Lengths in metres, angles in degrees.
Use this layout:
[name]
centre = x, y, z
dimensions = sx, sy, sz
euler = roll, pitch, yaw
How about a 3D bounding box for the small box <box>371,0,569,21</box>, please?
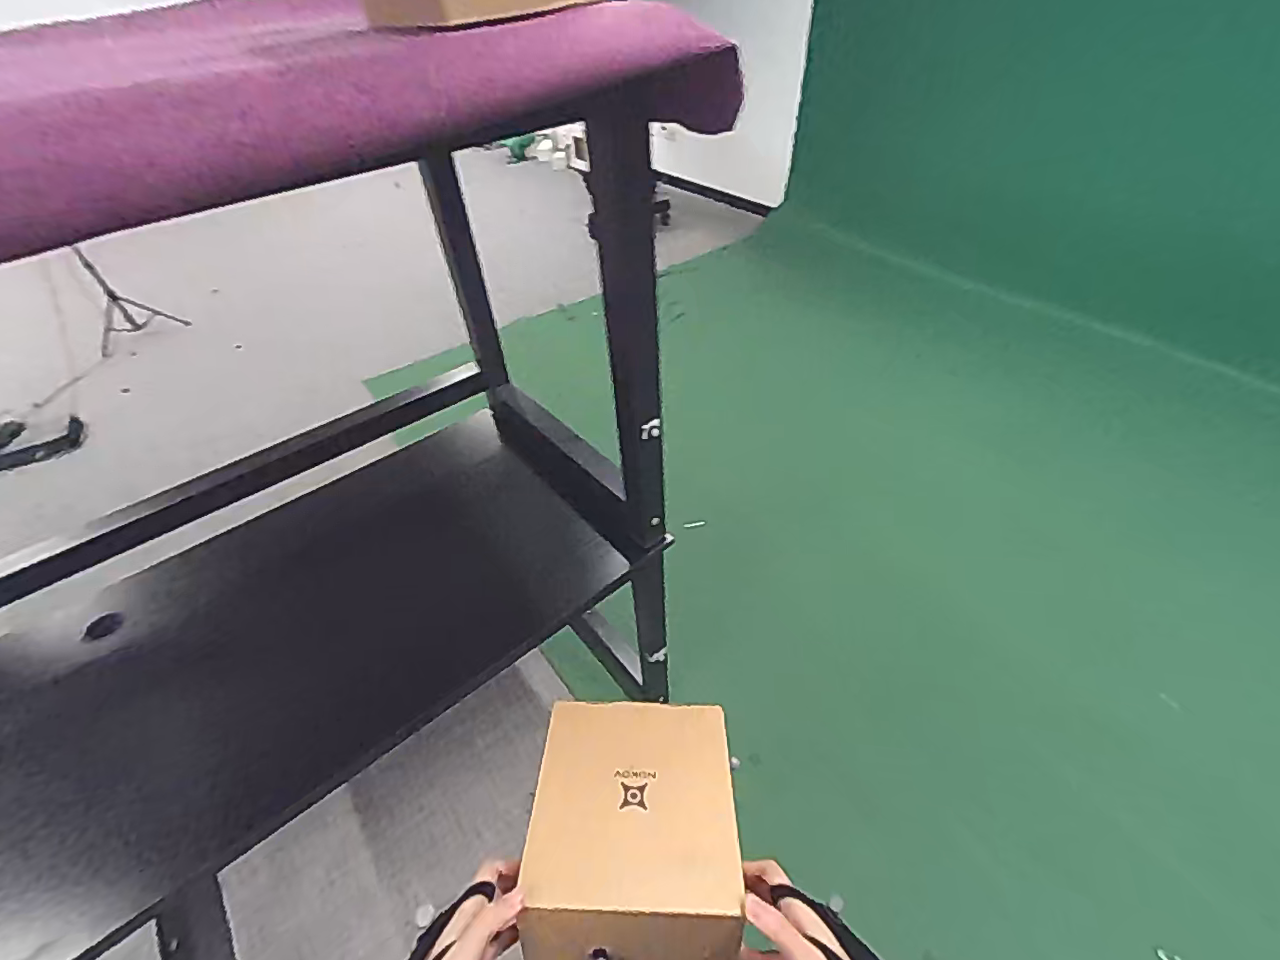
[small box]
centre = -0.149, -0.504, 0.451
dimensions = 0.168, 0.176, 0.179
euler = -33, 50, -26
